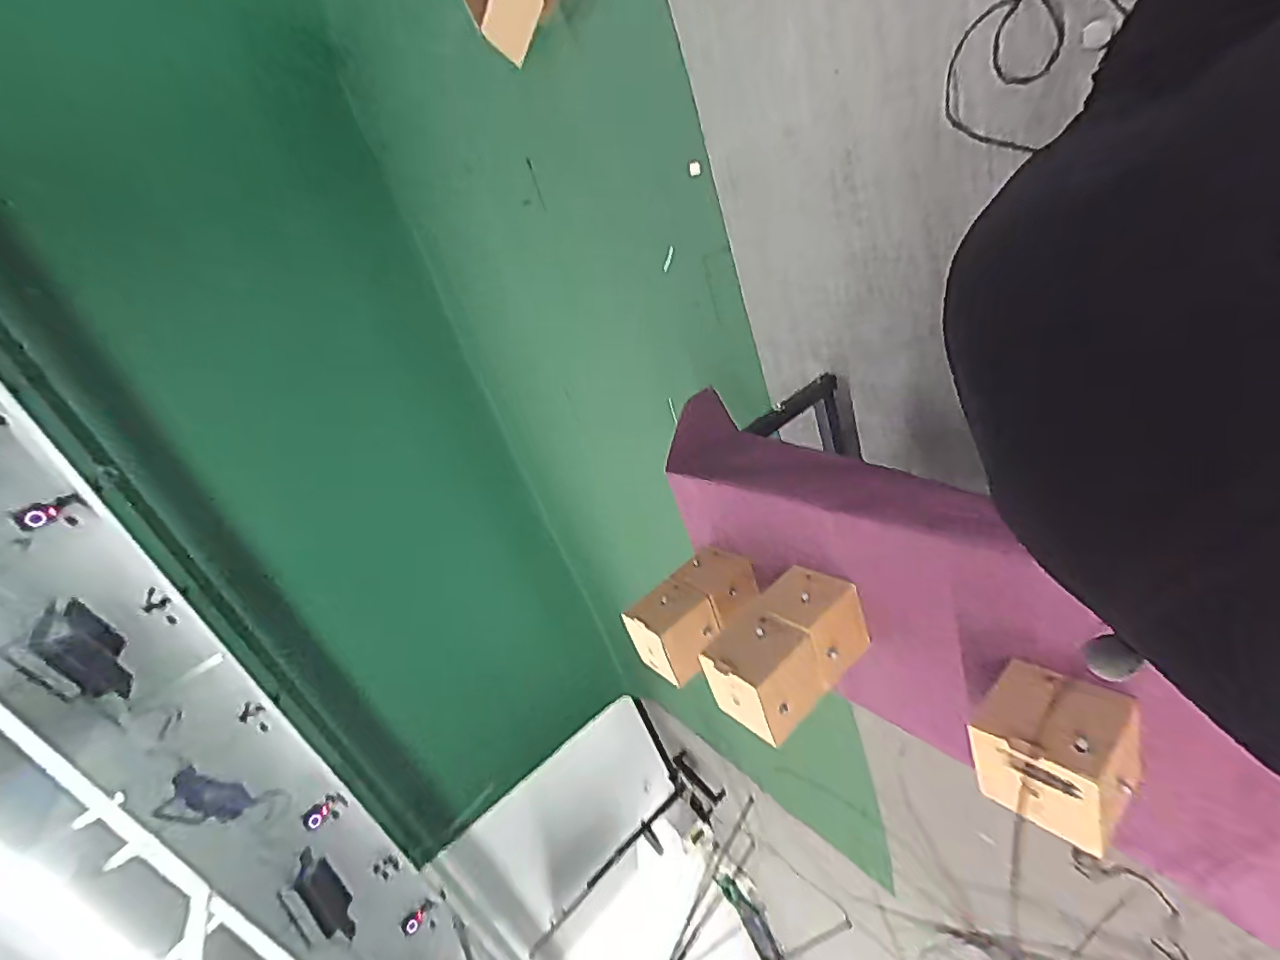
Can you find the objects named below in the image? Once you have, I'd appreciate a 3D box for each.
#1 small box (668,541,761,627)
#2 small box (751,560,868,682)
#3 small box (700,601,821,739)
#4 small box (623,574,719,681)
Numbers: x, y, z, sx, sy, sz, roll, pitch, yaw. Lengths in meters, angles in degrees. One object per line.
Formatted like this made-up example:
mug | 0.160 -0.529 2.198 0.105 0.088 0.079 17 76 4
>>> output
small box | 0.209 0.292 1.482 0.168 0.176 0.179 16 134 52
small box | 0.382 0.306 1.213 0.168 0.176 0.179 12 131 54
small box | 0.260 0.393 1.143 0.168 0.176 0.179 16 133 52
small box | 0.090 0.373 1.404 0.168 0.176 0.179 17 133 53
